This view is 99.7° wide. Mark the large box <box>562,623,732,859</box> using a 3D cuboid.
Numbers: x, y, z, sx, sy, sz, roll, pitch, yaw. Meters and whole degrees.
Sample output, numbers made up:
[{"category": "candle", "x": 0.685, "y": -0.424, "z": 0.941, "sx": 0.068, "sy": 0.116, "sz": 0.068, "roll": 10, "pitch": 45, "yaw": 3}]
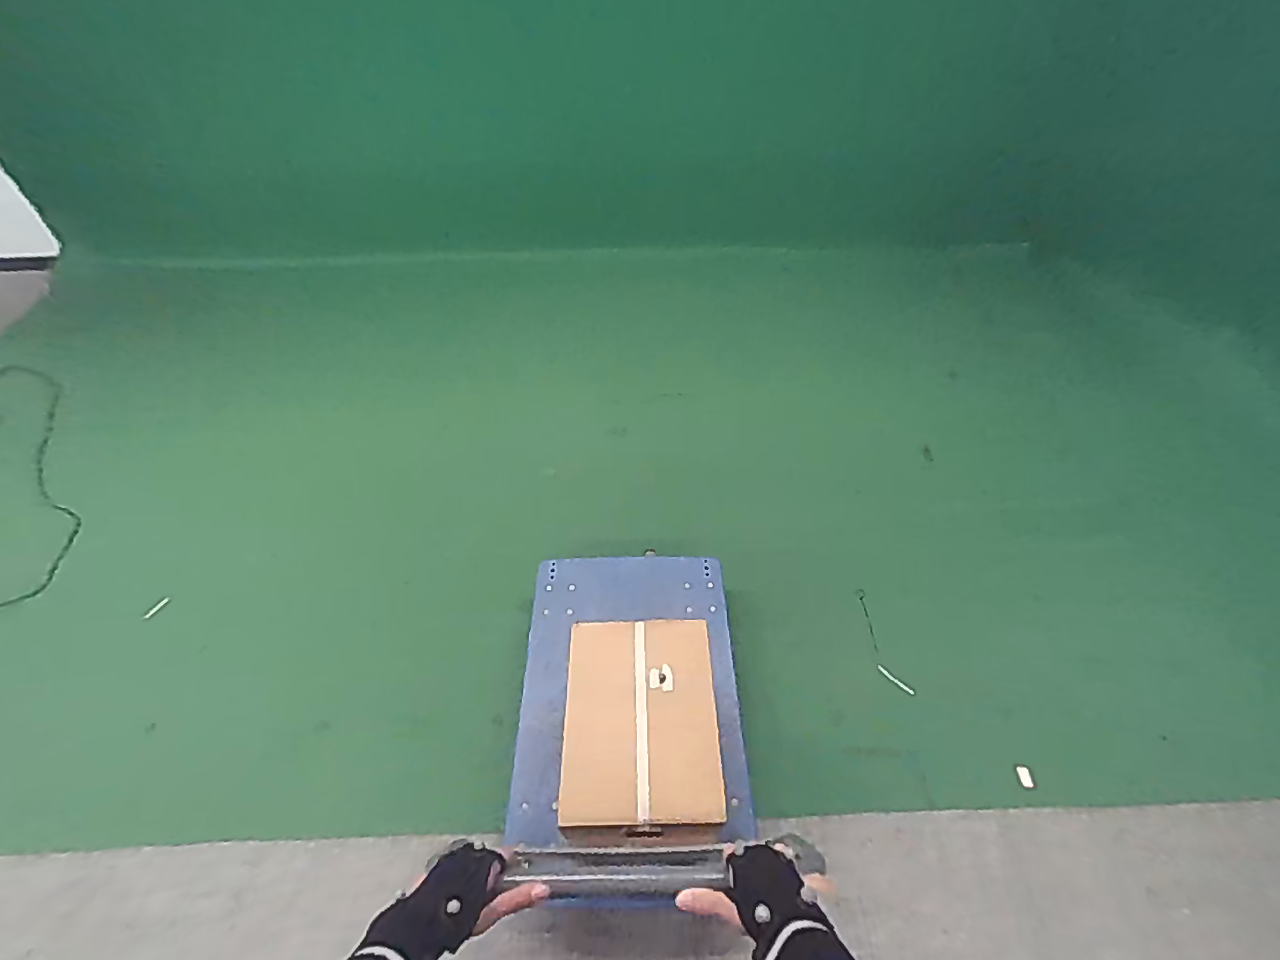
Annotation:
[{"category": "large box", "x": 0.010, "y": 0.579, "z": 1.210, "sx": 0.320, "sy": 0.320, "sz": 0.408, "roll": -1, "pitch": 47, "yaw": -1}]
